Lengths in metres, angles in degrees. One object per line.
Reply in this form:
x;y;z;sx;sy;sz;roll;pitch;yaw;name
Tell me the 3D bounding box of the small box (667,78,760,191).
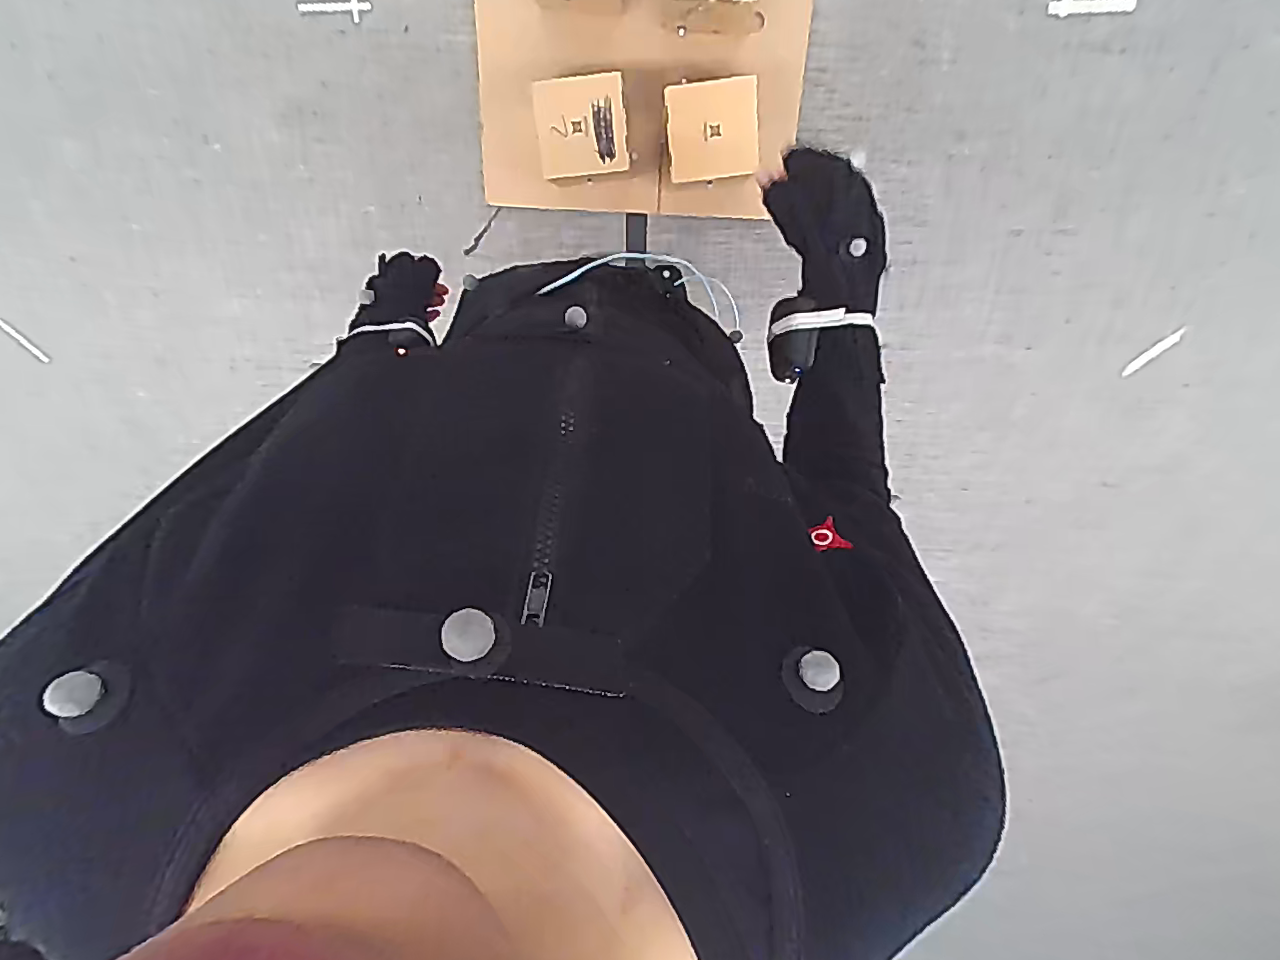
0.150;-0.714;1.135;0.179;0.176;0.168;-5;112;5;small box
